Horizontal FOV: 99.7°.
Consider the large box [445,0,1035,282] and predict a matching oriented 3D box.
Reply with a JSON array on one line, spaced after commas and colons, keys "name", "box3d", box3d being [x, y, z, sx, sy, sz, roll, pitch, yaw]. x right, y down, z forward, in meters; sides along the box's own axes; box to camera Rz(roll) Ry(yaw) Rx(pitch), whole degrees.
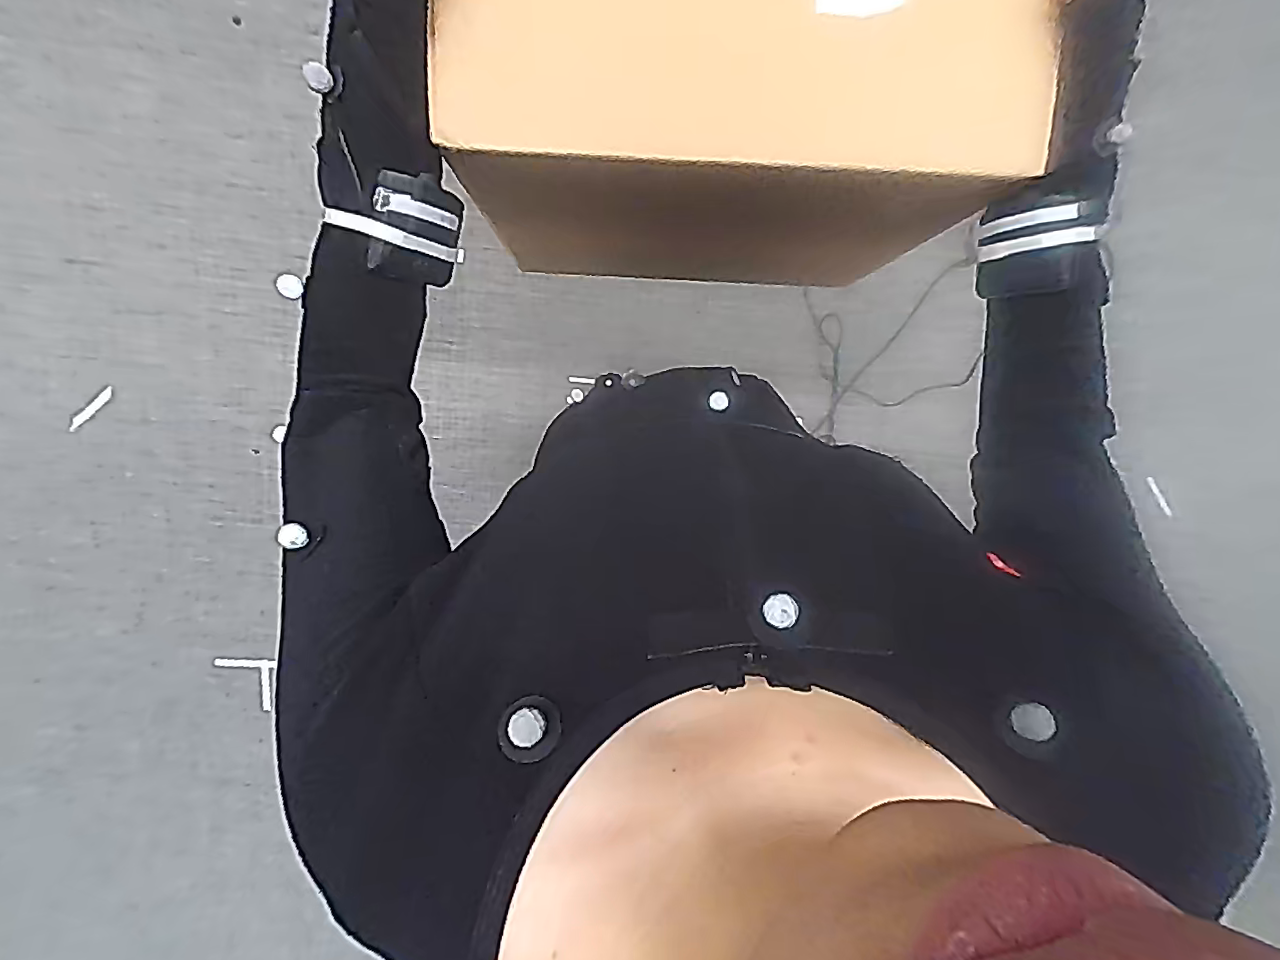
[{"name": "large box", "box3d": [0.063, -0.384, 0.503, 0.408, 0.320, 0.320, 1, 96, -3]}]
